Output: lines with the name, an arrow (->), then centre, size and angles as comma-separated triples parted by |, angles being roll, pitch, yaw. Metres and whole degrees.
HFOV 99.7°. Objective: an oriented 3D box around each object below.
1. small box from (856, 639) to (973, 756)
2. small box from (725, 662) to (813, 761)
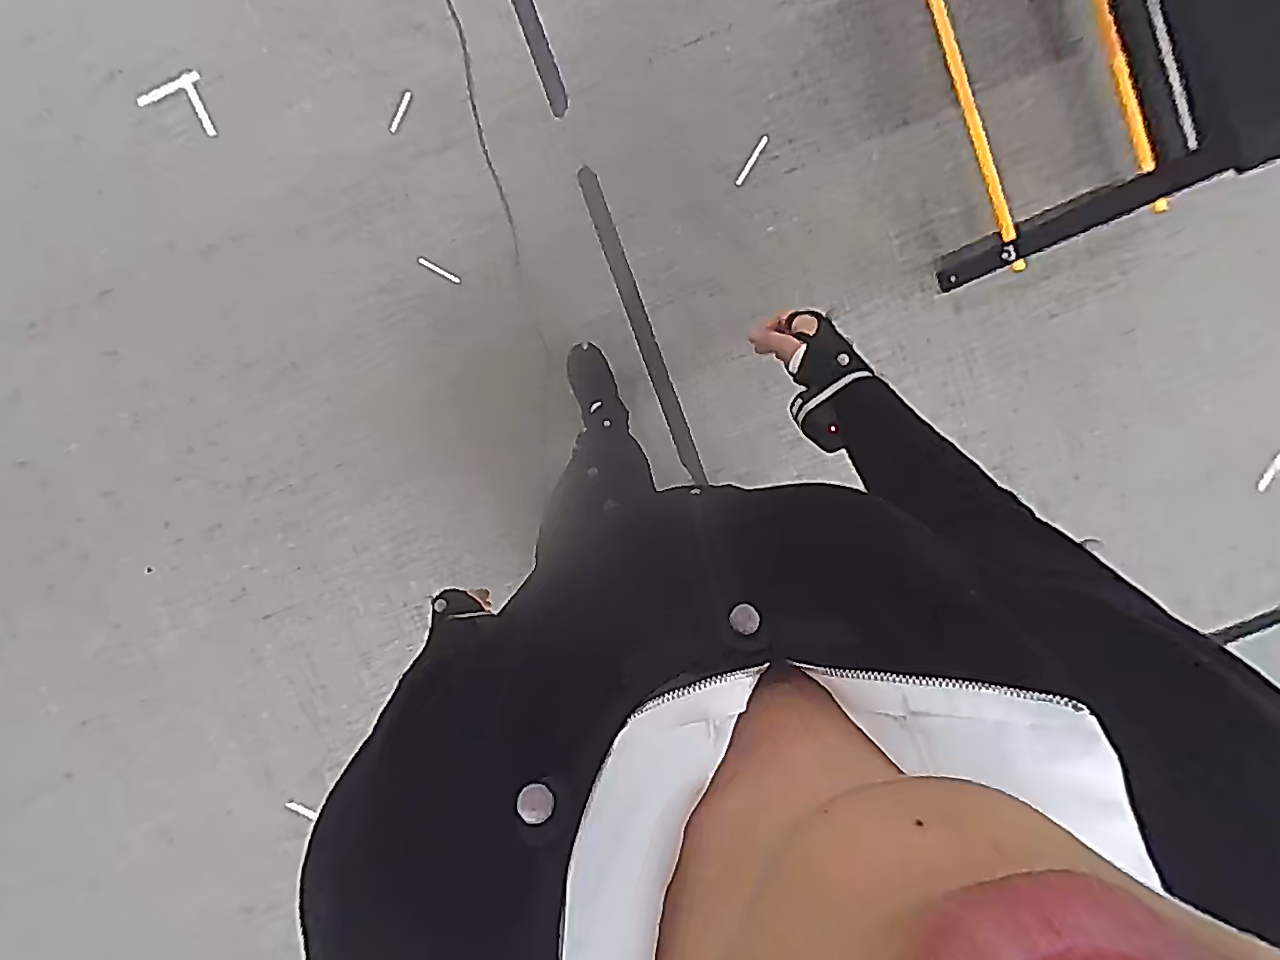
small box -> 0.656, 0.518, 1.309 | 0.168, 0.176, 0.179 | -23, 95, 0
small box -> 0.345, 0.620, 1.480 | 0.168, 0.176, 0.179 | -20, 95, 1
